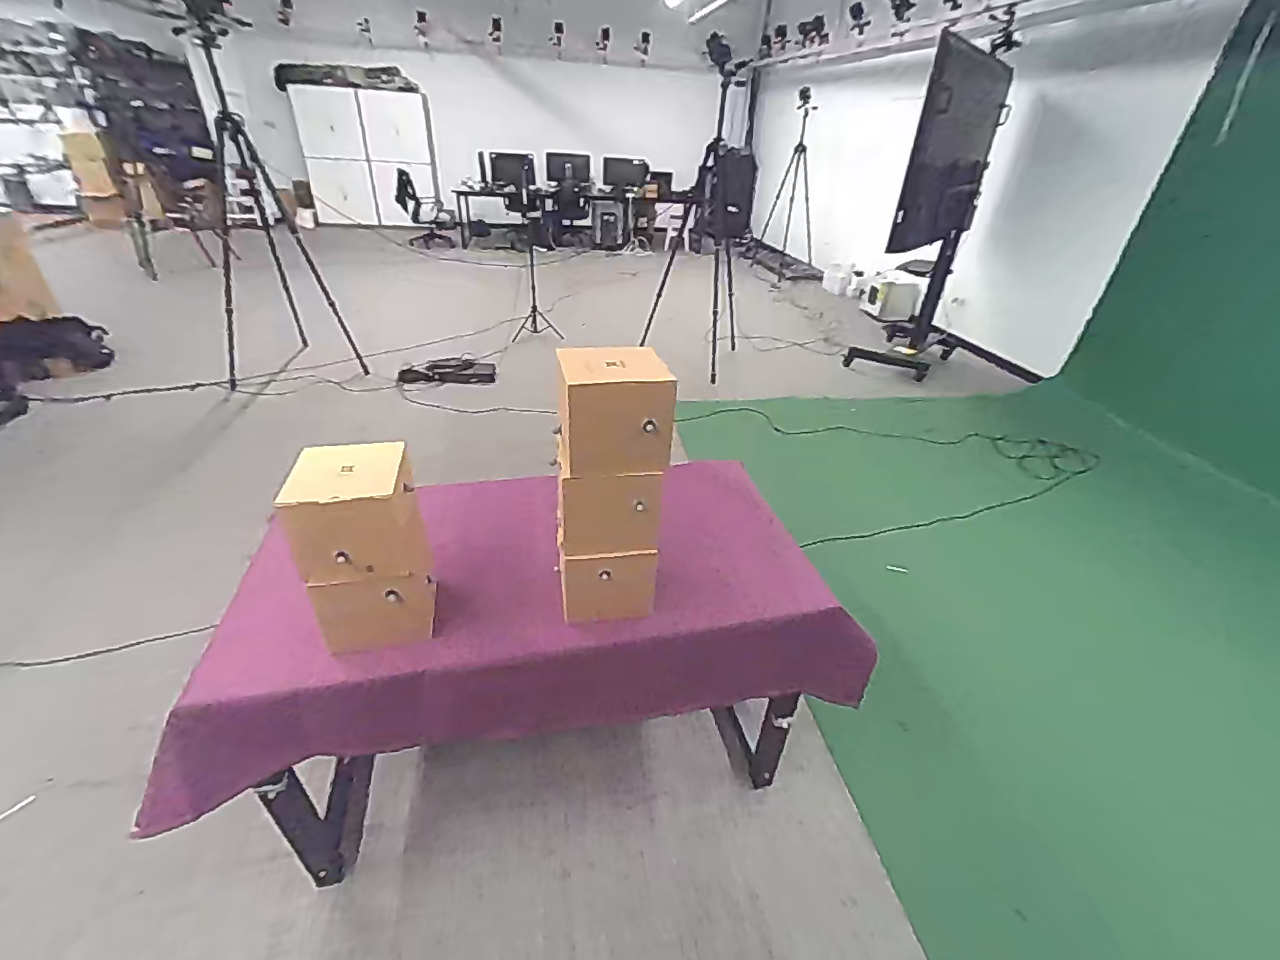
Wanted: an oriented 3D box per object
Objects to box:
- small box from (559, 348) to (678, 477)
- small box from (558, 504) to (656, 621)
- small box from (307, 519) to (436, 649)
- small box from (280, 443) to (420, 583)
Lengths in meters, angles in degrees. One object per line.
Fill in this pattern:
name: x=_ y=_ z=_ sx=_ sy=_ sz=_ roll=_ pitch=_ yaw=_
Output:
small box: x=-0.046 y=-0.119 z=0.933 sx=0.179 sy=0.176 sz=0.168 roll=-4 pitch=33 yaw=-12
small box: x=-0.071 y=0.166 z=1.094 sx=0.179 sy=0.176 sz=0.168 roll=-3 pitch=33 yaw=-11
small box: x=-0.487 y=0.193 z=1.015 sx=0.179 sy=0.176 sz=0.168 roll=-5 pitch=33 yaw=-13
small box: x=-0.482 y=0.053 z=0.931 sx=0.168 sy=0.176 sz=0.179 roll=-5 pitch=34 yaw=-13
